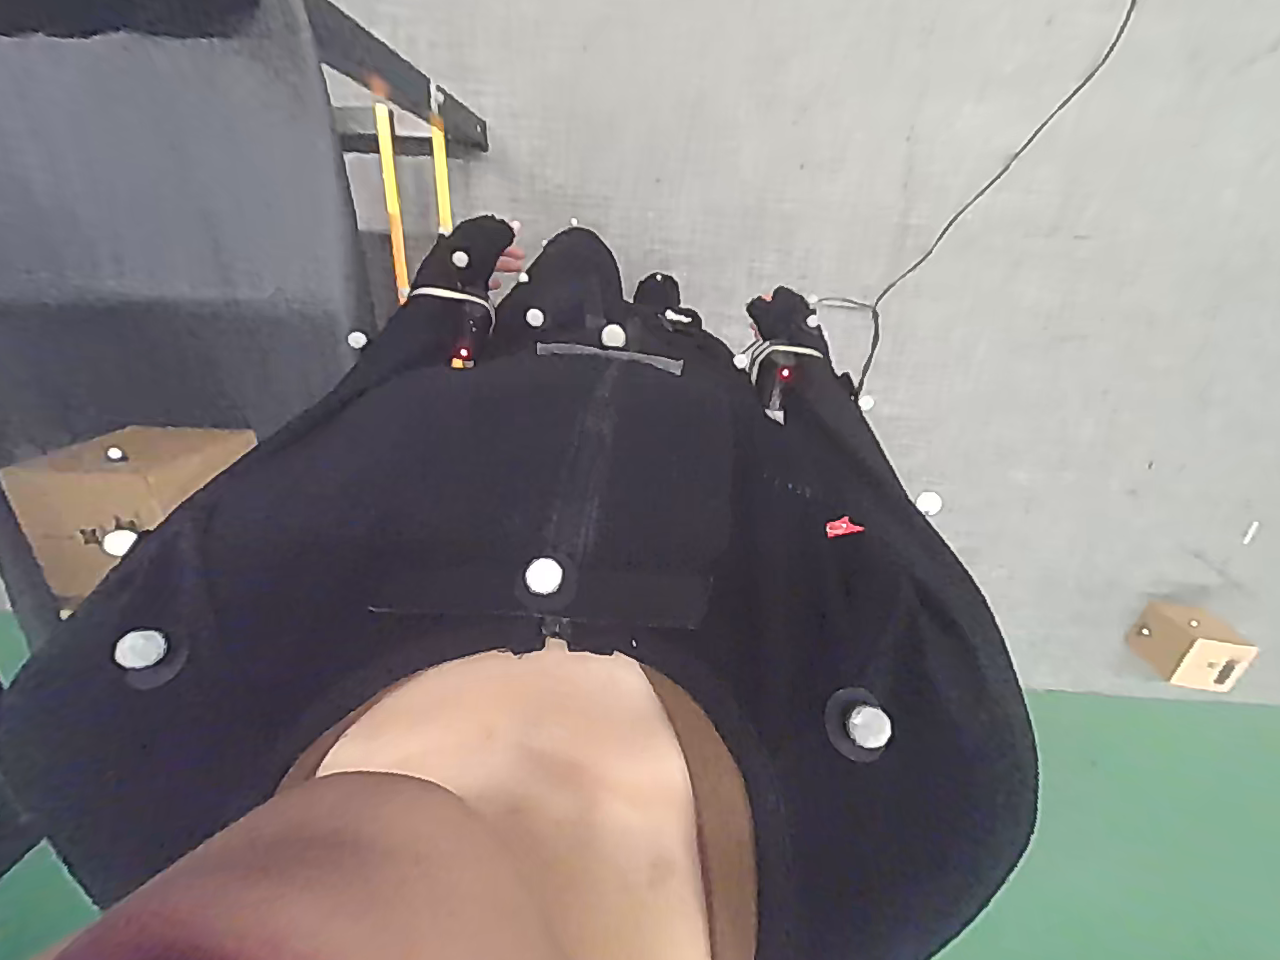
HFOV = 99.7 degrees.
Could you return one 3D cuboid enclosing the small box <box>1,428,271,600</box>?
[{"bbox_3d":[-0.615,0.035,0.695,0.179,0.176,0.168,2,112,3],"label":"small box"}]
